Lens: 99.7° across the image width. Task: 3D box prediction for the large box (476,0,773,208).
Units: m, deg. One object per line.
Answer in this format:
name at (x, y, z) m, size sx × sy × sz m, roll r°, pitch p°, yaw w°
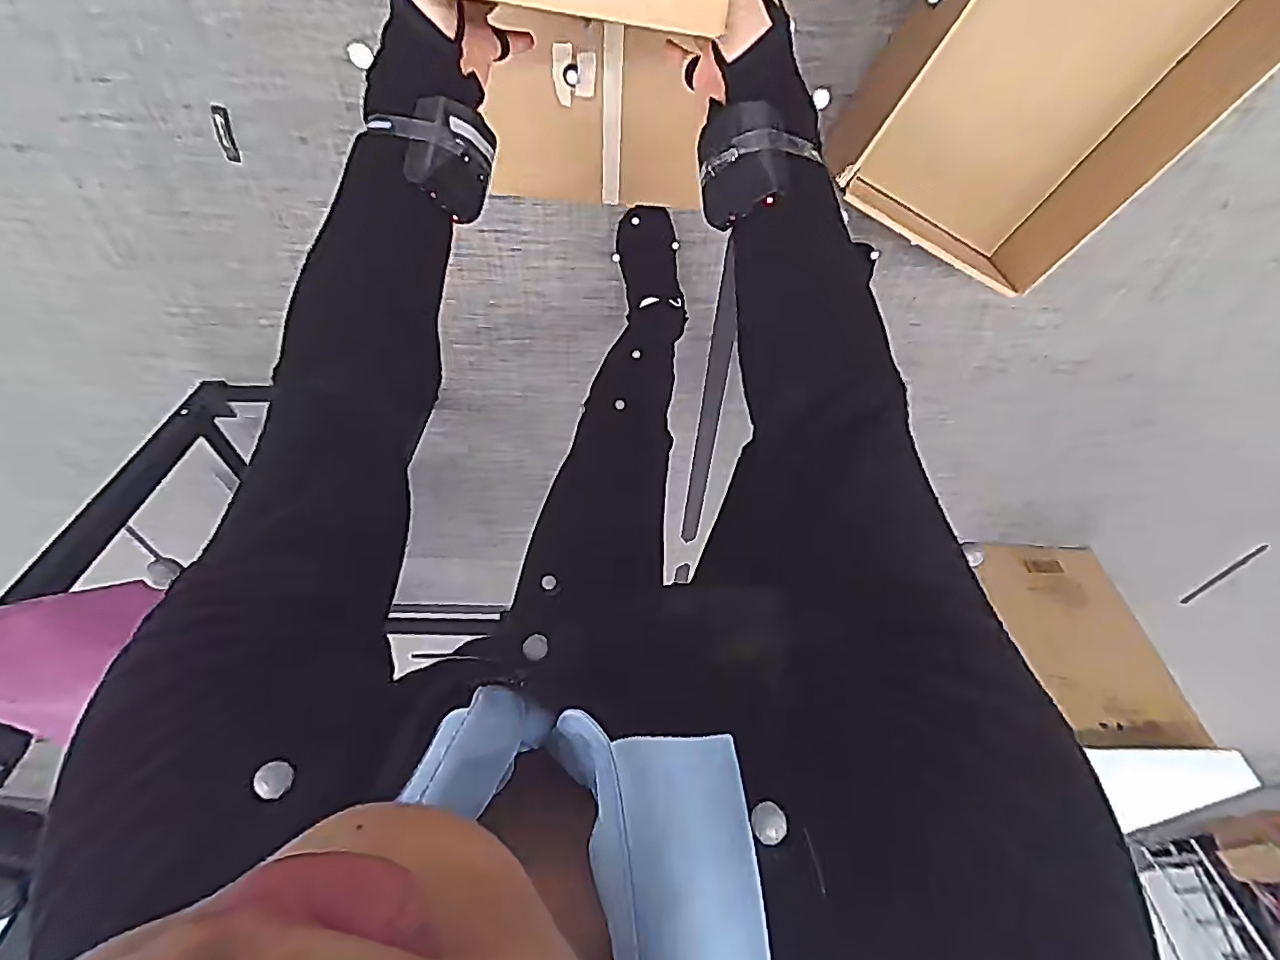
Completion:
large box at (-0.015, -0.605, 0.653) m, size 0.320 × 0.320 × 0.408 m, roll 4°, pitch 138°, yaw -1°
